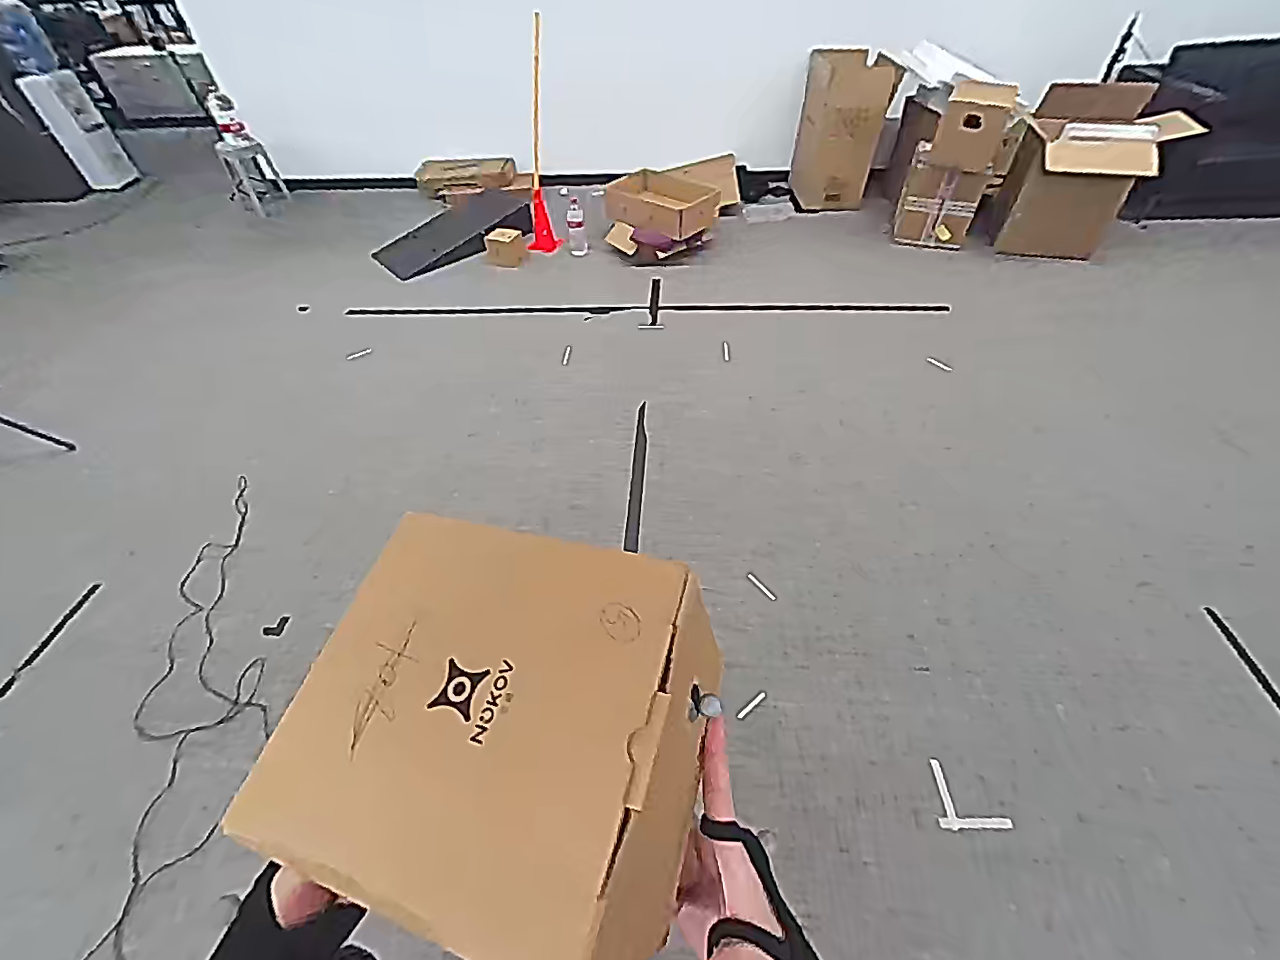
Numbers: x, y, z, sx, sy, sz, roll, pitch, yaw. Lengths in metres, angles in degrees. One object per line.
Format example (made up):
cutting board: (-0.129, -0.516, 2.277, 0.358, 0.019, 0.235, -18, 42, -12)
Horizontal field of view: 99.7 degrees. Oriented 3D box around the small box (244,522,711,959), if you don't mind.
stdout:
small box: (-0.062, 0.148, 0.322, 0.179, 0.176, 0.168, 8, 57, 19)
